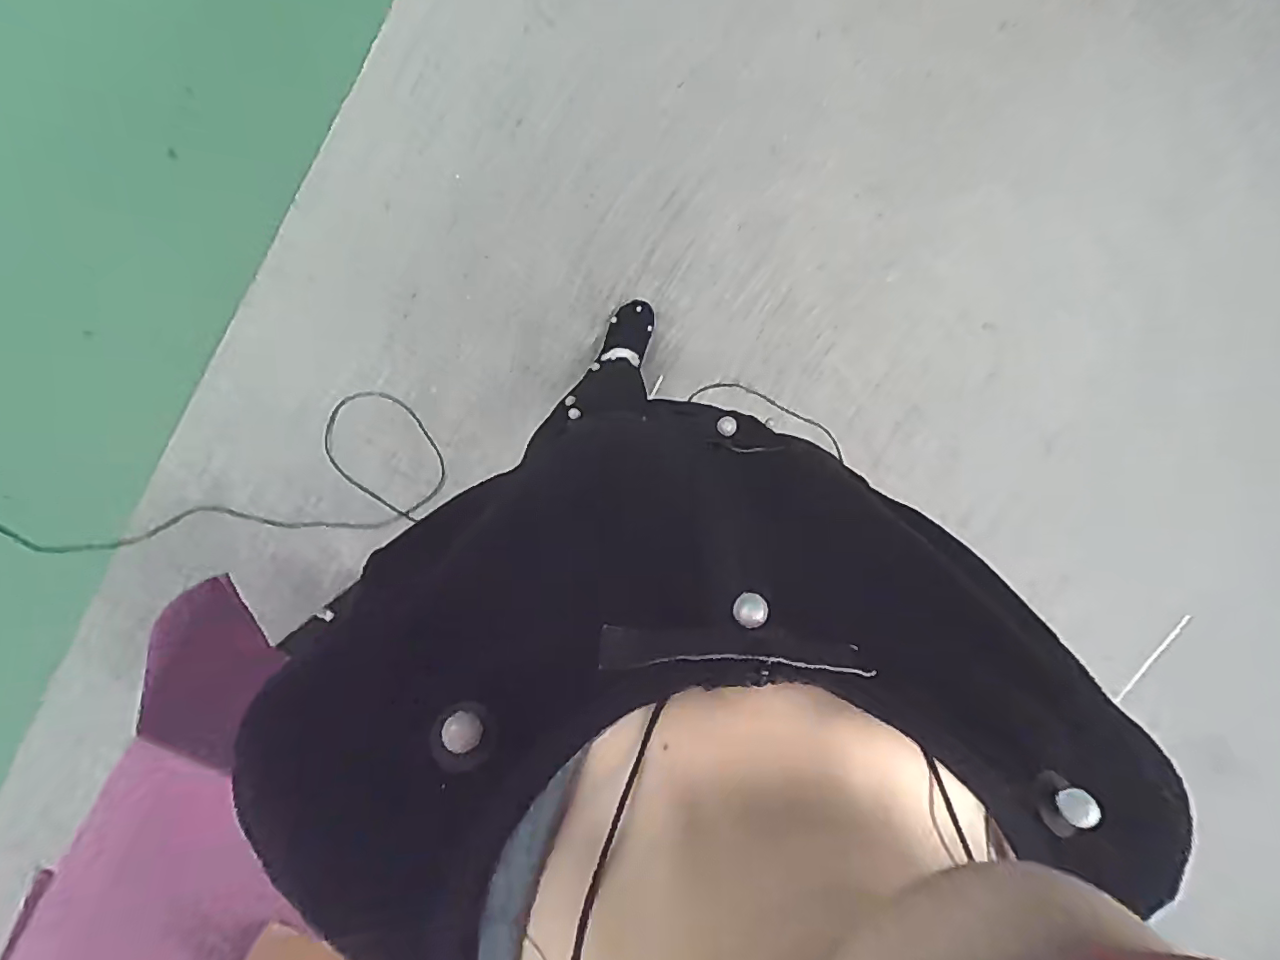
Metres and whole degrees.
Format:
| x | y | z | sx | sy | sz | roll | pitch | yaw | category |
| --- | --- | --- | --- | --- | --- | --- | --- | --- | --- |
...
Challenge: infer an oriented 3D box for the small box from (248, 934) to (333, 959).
| x | y | z | sx | sy | sz | roll | pitch | yaw | category |
| --- | --- | --- | --- | --- | --- | --- | --- | --- | --- |
| -0.546 | 0.823 | 0.787 | 0.179 | 0.176 | 0.168 | 33 | 97 | -7 | small box |
